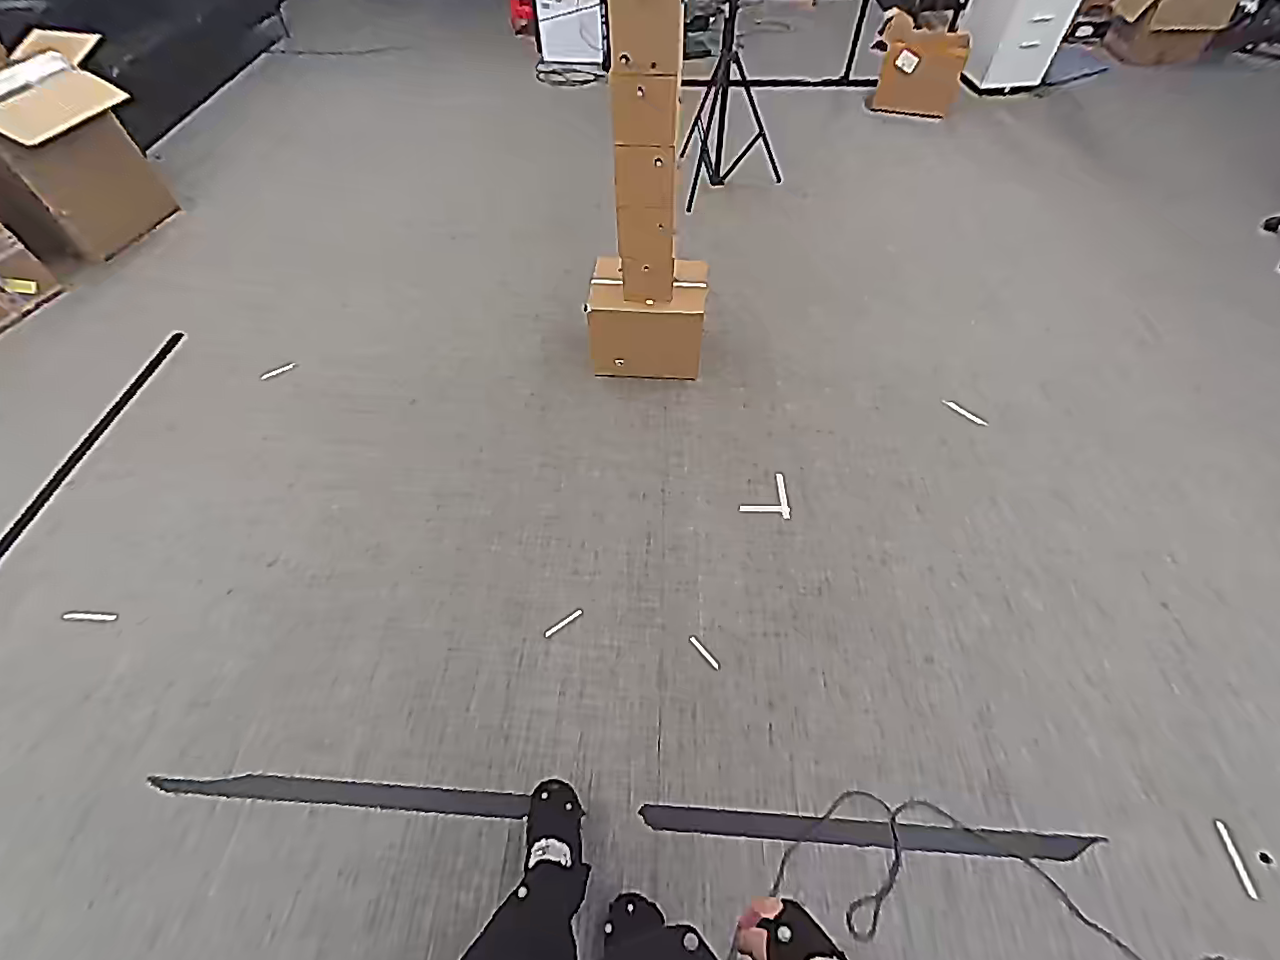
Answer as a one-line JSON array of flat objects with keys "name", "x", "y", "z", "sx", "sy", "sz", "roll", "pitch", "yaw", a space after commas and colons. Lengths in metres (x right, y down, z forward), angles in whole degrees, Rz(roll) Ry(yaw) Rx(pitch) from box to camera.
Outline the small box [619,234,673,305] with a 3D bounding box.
[{"name": "small box", "x": 0.024, "y": -0.716, "z": 1.844, "sx": 0.179, "sy": 0.176, "sz": 0.168, "roll": 2, "pitch": 56, "yaw": 1}]

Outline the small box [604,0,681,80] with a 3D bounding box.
[{"name": "small box", "x": 0.012, "y": -1.099, "z": 1.312, "sx": 0.168, "sy": 0.176, "sz": 0.179, "roll": 4, "pitch": 55, "yaw": 5}]

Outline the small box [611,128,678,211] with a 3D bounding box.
[{"name": "small box", "x": 0.016, "y": -0.909, "z": 1.578, "sx": 0.179, "sy": 0.176, "sz": 0.168, "roll": 4, "pitch": 55, "yaw": 4}]

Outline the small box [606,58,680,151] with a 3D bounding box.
[{"name": "small box", "x": 0.012, "y": -1.003, "z": 1.446, "sx": 0.179, "sy": 0.176, "sz": 0.168, "roll": 4, "pitch": 56, "yaw": 5}]
